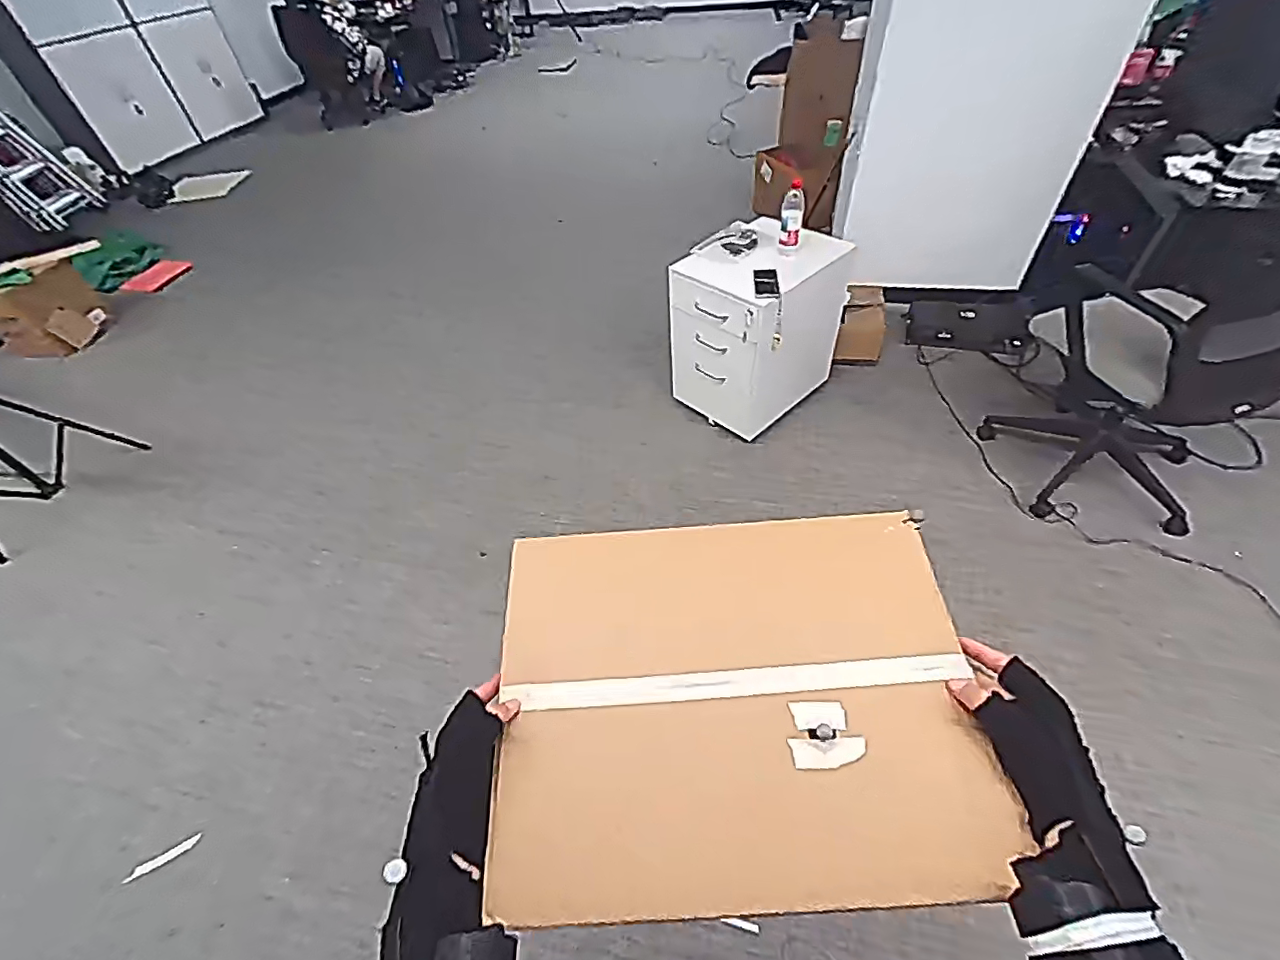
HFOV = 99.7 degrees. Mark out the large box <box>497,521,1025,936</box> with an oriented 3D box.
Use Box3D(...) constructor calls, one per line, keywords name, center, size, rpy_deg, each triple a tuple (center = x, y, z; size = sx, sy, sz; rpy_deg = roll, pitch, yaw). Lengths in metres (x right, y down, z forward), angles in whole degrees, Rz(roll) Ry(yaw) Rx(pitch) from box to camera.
Box3D(name="large box", center=(0.084, 0.270, 0.602), size=(0.408, 0.320, 0.320), rpy_deg=(-5, 57, 0))
